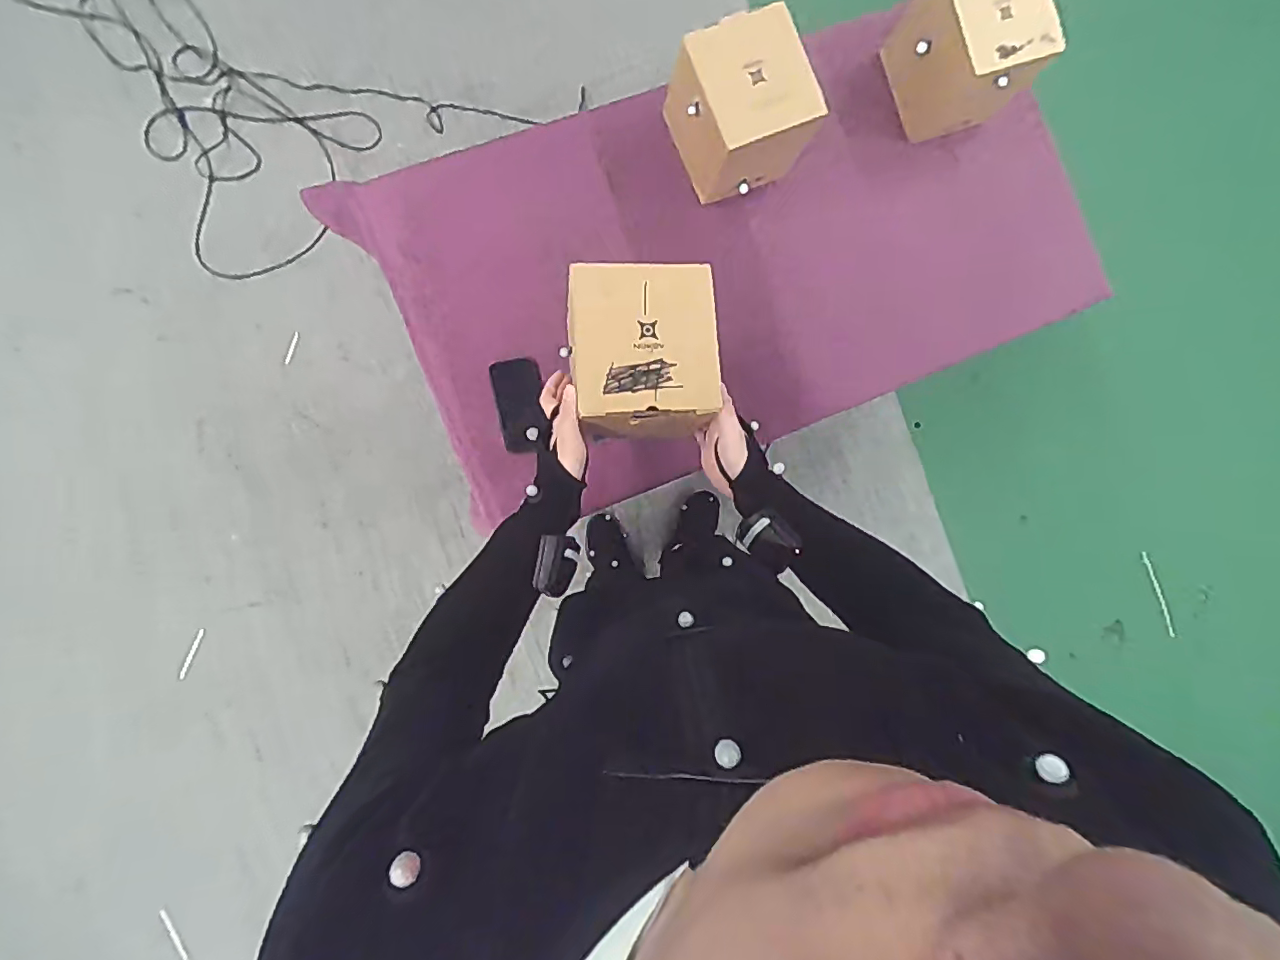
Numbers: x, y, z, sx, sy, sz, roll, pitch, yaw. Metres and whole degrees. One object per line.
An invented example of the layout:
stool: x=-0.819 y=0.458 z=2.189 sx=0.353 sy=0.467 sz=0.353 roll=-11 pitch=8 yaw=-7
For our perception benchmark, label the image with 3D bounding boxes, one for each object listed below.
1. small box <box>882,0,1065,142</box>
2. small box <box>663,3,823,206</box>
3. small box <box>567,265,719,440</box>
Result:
small box: x=0.534 y=-0.709 z=0.892 sx=0.168 sy=0.176 sz=0.179 roll=-20 pitch=91 yaw=-6
small box: x=0.149 y=-0.572 z=0.844 sx=0.168 sy=0.176 sz=0.179 roll=-23 pitch=92 yaw=-6
small box: x=-0.005 y=-0.146 z=0.676 sx=0.168 sy=0.176 sz=0.179 roll=-2 pitch=84 yaw=-8
